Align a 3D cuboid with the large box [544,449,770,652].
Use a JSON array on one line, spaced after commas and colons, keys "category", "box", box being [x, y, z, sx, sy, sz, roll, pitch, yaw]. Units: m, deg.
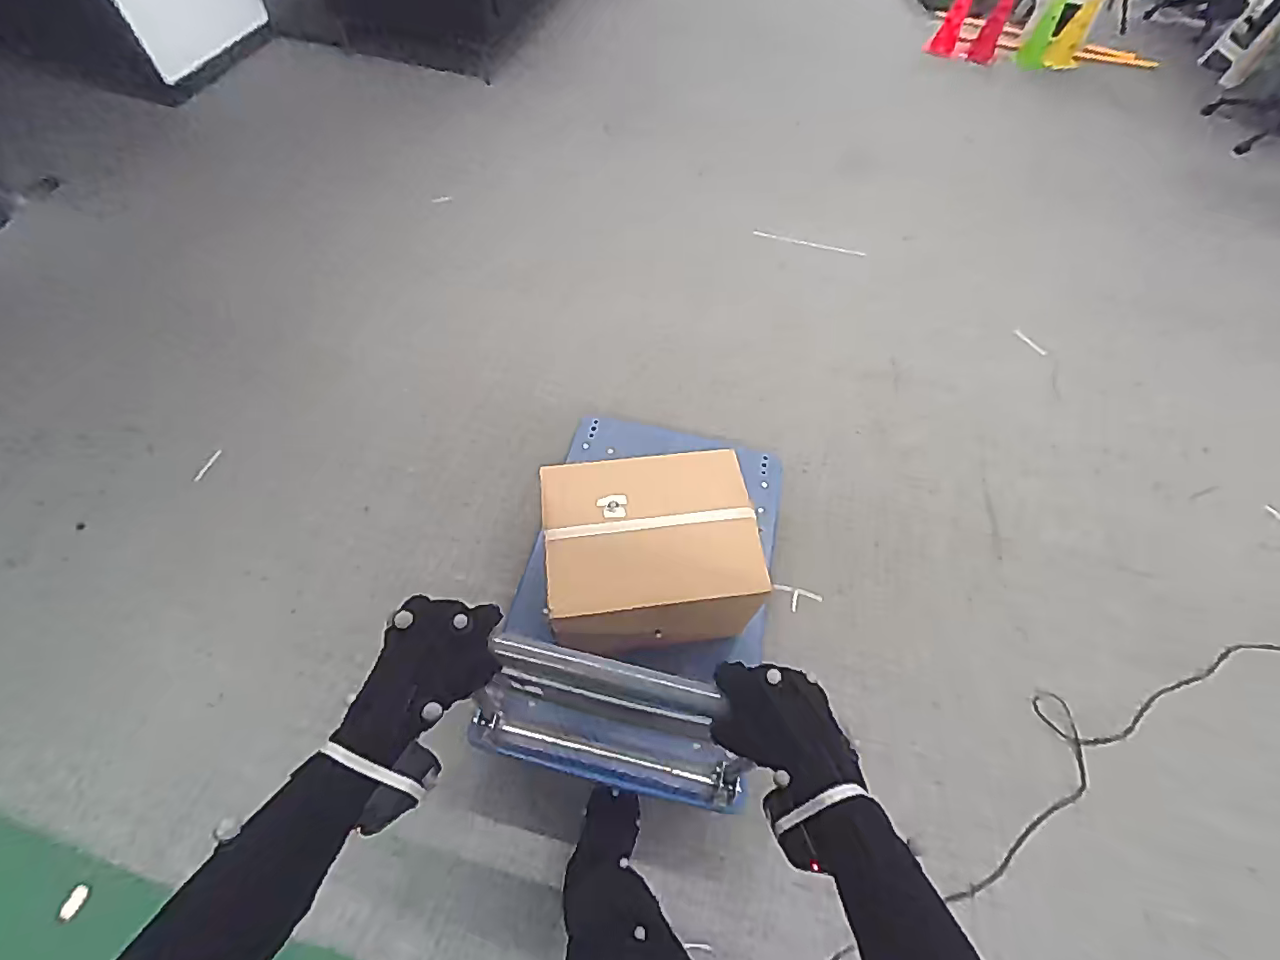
[{"category": "large box", "box": [0.019, 0.162, 1.171, 0.408, 0.320, 0.320, -6, 60, -6]}]
